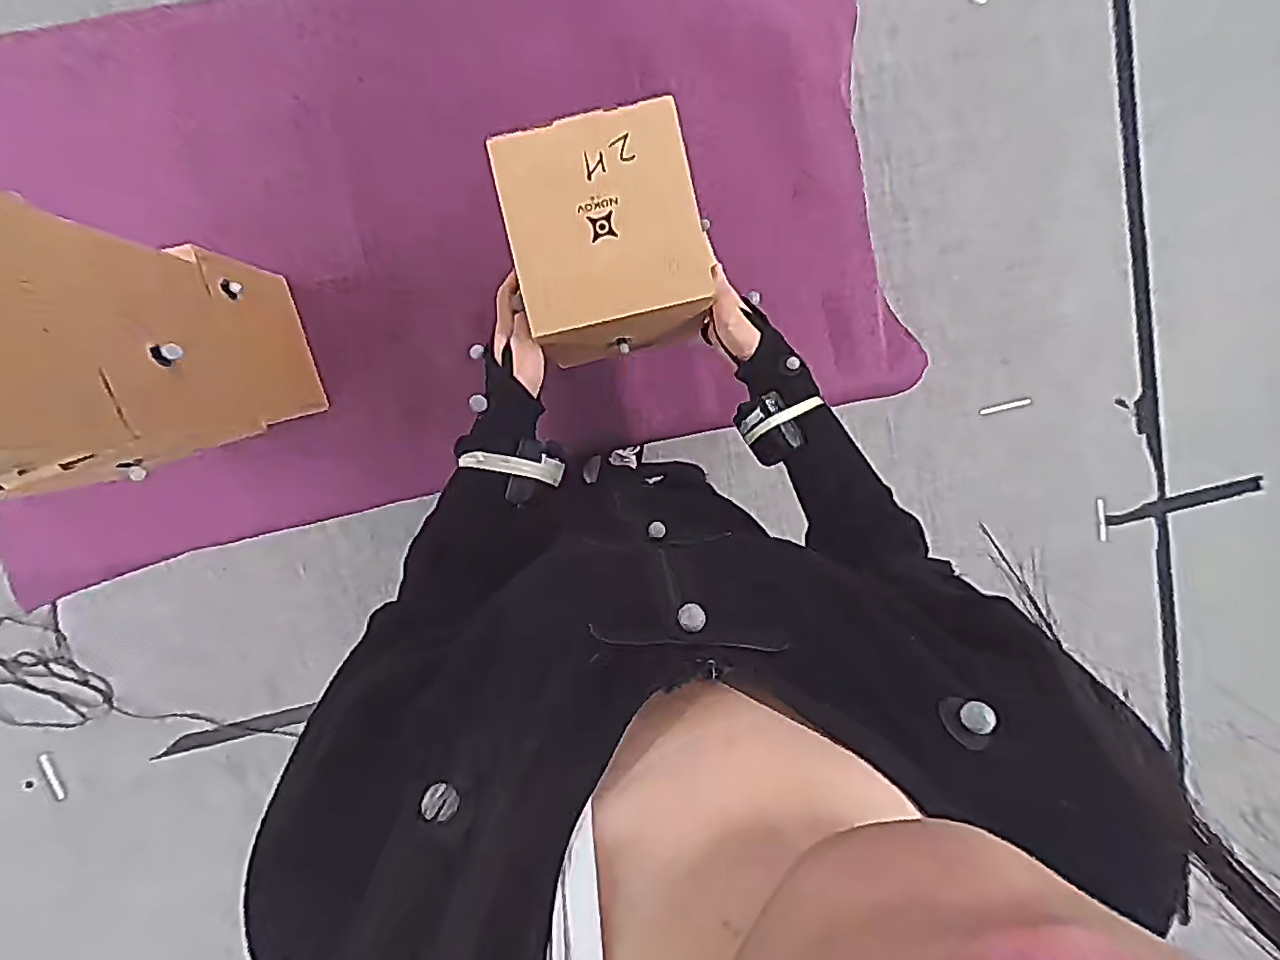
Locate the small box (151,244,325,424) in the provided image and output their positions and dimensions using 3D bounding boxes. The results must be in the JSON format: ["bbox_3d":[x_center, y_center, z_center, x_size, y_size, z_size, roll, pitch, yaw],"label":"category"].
[{"bbox_3d":[-0.502,-0.145,0.621,0.168,0.176,0.179,-14,100,-3],"label":"small box"}]

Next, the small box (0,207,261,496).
[{"bbox_3d":[-0.479,-0.098,0.464,0.168,0.176,0.179,-19,101,-2],"label":"small box"}]

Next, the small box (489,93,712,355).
[{"bbox_3d":[-0.031,-0.230,0.540,0.168,0.176,0.179,-12,93,1],"label":"small box"}]
